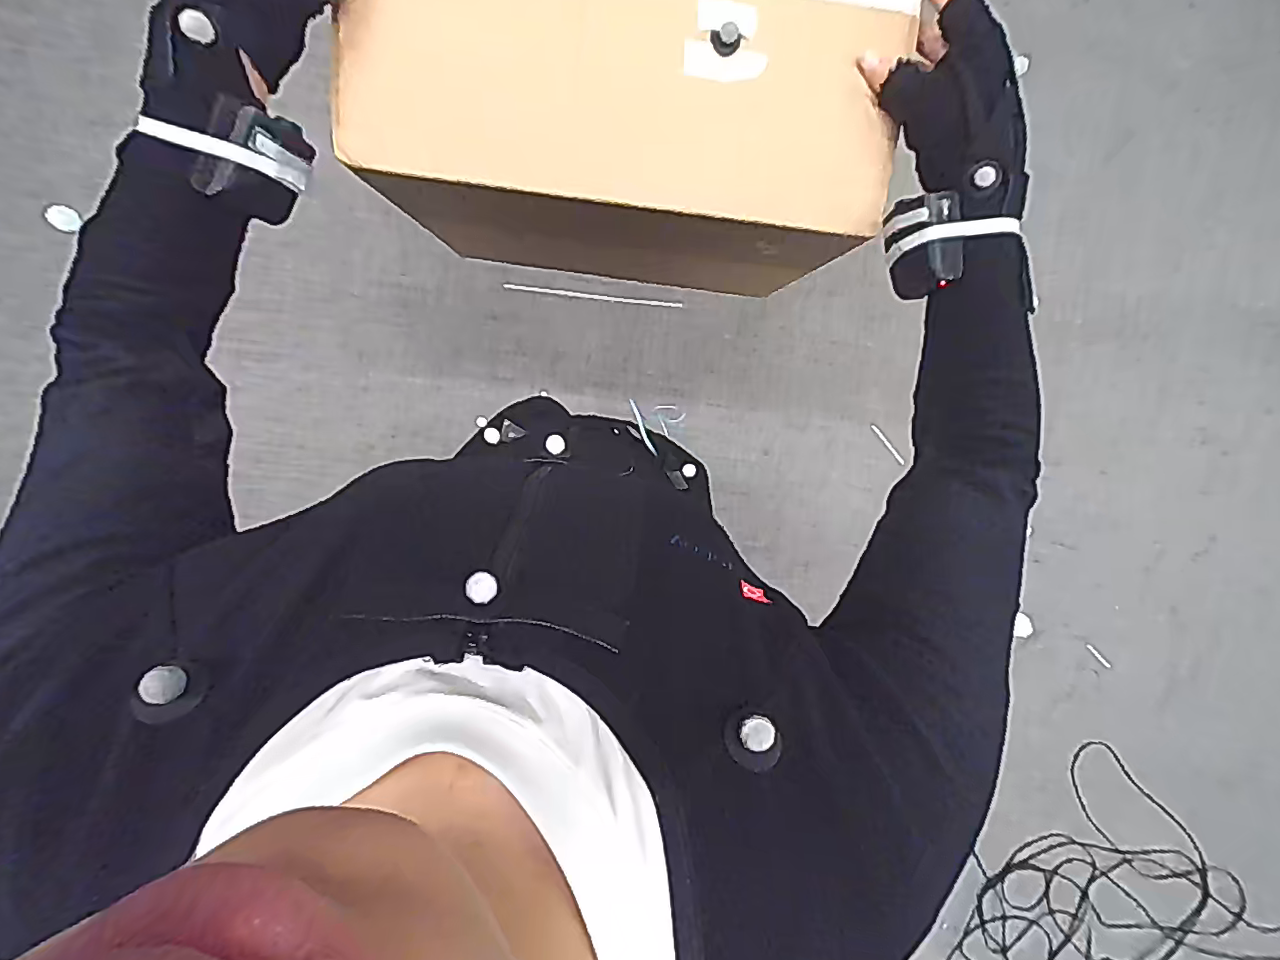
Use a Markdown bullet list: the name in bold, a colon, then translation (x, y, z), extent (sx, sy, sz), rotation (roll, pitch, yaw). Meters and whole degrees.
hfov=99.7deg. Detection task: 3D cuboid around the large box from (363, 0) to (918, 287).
- **large box**: translation (-0.003, -0.393, 0.529), extent (0.408, 0.320, 0.320), rotation (5, 101, -5)
